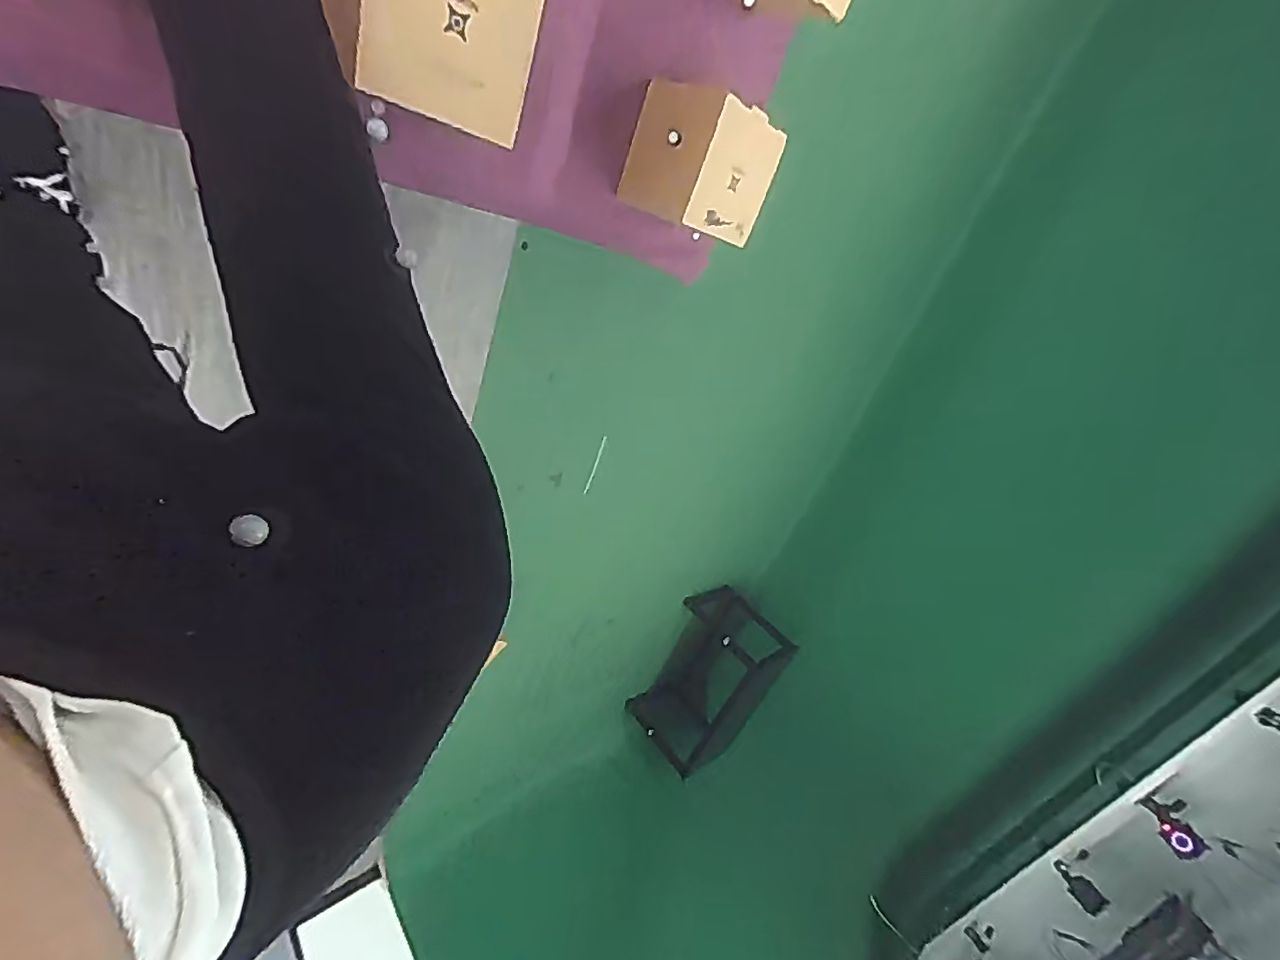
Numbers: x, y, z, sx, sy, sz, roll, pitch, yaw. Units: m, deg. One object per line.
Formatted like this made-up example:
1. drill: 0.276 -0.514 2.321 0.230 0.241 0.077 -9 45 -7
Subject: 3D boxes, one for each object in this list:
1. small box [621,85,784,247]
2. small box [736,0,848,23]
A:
1. small box: 0.094 -0.507 0.877 0.168 0.176 0.179 -5 125 -45
2. small box: 0.206 -0.771 0.736 0.168 0.176 0.179 -7 129 -42
